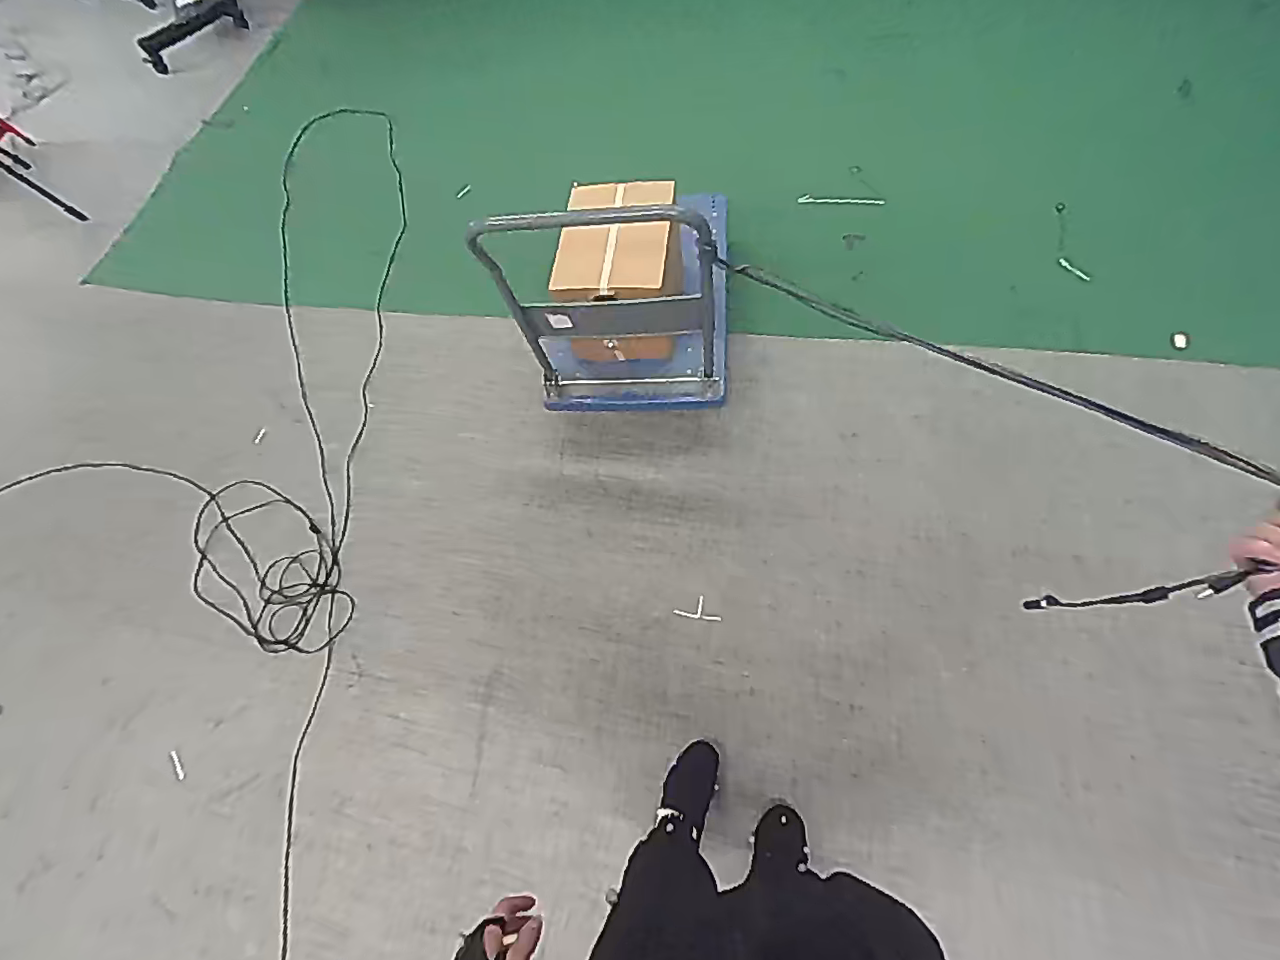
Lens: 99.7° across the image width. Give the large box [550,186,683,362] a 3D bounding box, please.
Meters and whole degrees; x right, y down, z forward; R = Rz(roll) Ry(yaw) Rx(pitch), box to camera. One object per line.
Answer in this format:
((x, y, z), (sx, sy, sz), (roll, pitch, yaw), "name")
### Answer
((-0.049, -0.609, 1.631), (0.320, 0.320, 0.408), (3, 66, 10), "large box")
